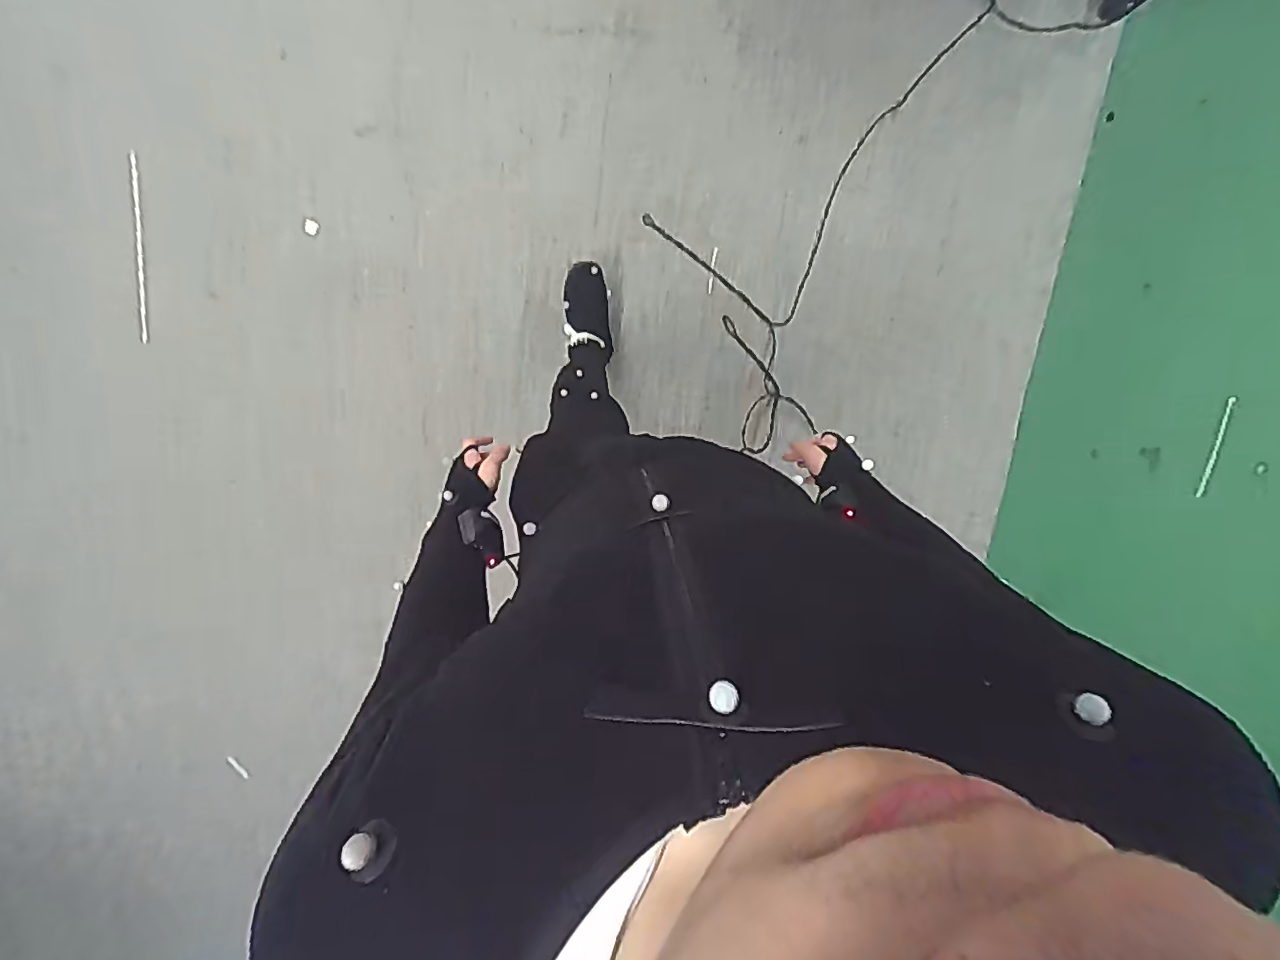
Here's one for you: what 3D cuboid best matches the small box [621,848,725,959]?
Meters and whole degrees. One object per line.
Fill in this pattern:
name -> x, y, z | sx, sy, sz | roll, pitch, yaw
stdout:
small box -> 0.058, 0.893, 1.096 | 0.168, 0.176, 0.179 | 13, 100, -5

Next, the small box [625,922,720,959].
small box -> 0.053, 0.926, 0.935 | 0.168, 0.176, 0.179 | 13, 100, -5

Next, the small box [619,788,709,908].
small box -> 0.051, 0.863, 1.257 | 0.168, 0.176, 0.179 | 13, 99, -5
